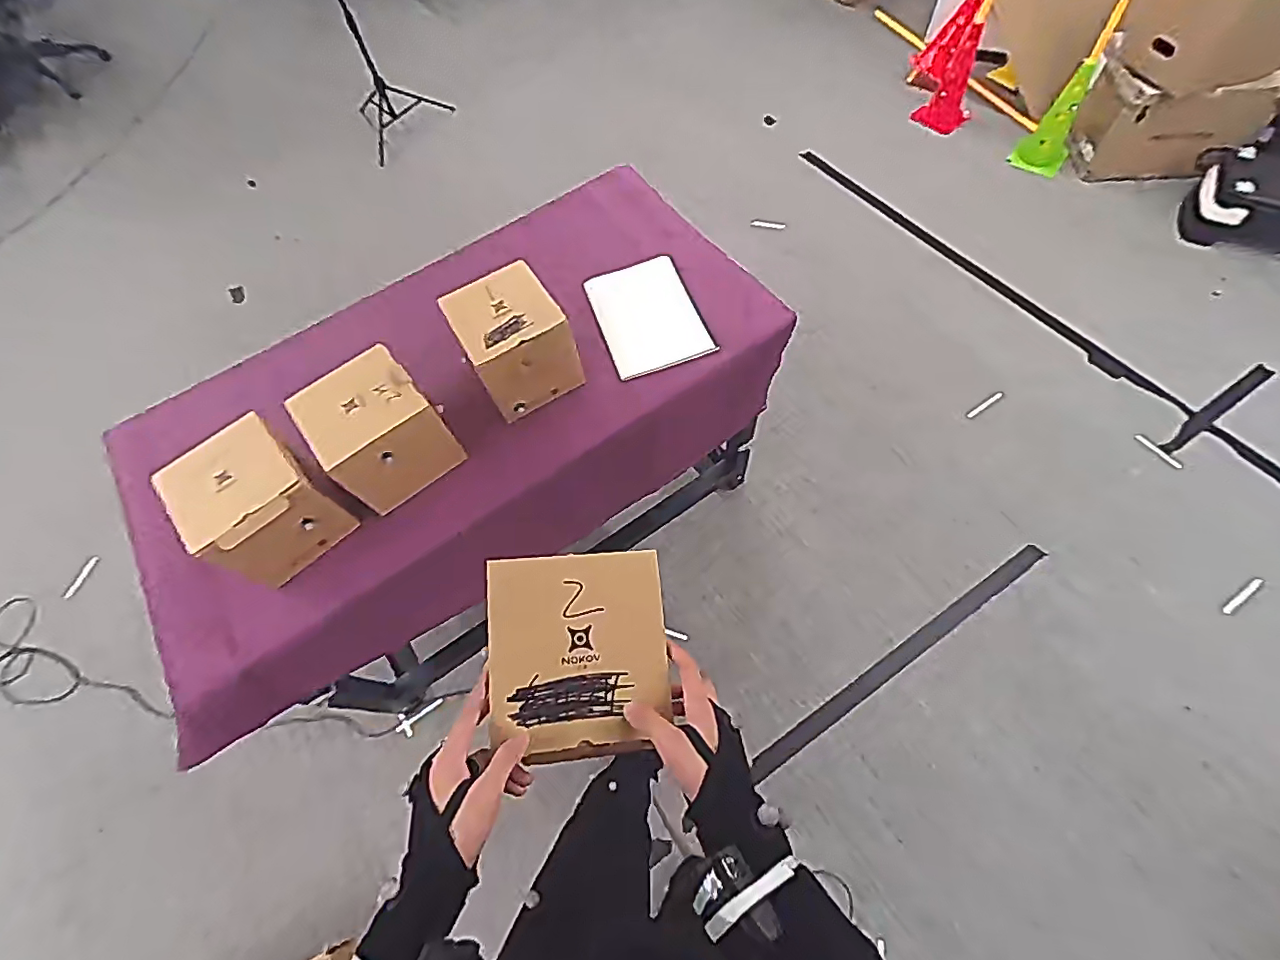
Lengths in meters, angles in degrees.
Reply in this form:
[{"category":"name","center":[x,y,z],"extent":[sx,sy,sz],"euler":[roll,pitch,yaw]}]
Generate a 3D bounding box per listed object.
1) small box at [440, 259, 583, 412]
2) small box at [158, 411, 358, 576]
[{"category":"small box","center":[-0.219,-0.244,0.958],"extent":[0.168,0.176,0.179],"euler":[-30,64,-10]},{"category":"small box","center":[-0.590,0.031,0.857],"extent":[0.168,0.176,0.179],"euler":[-40,67,-15]}]
